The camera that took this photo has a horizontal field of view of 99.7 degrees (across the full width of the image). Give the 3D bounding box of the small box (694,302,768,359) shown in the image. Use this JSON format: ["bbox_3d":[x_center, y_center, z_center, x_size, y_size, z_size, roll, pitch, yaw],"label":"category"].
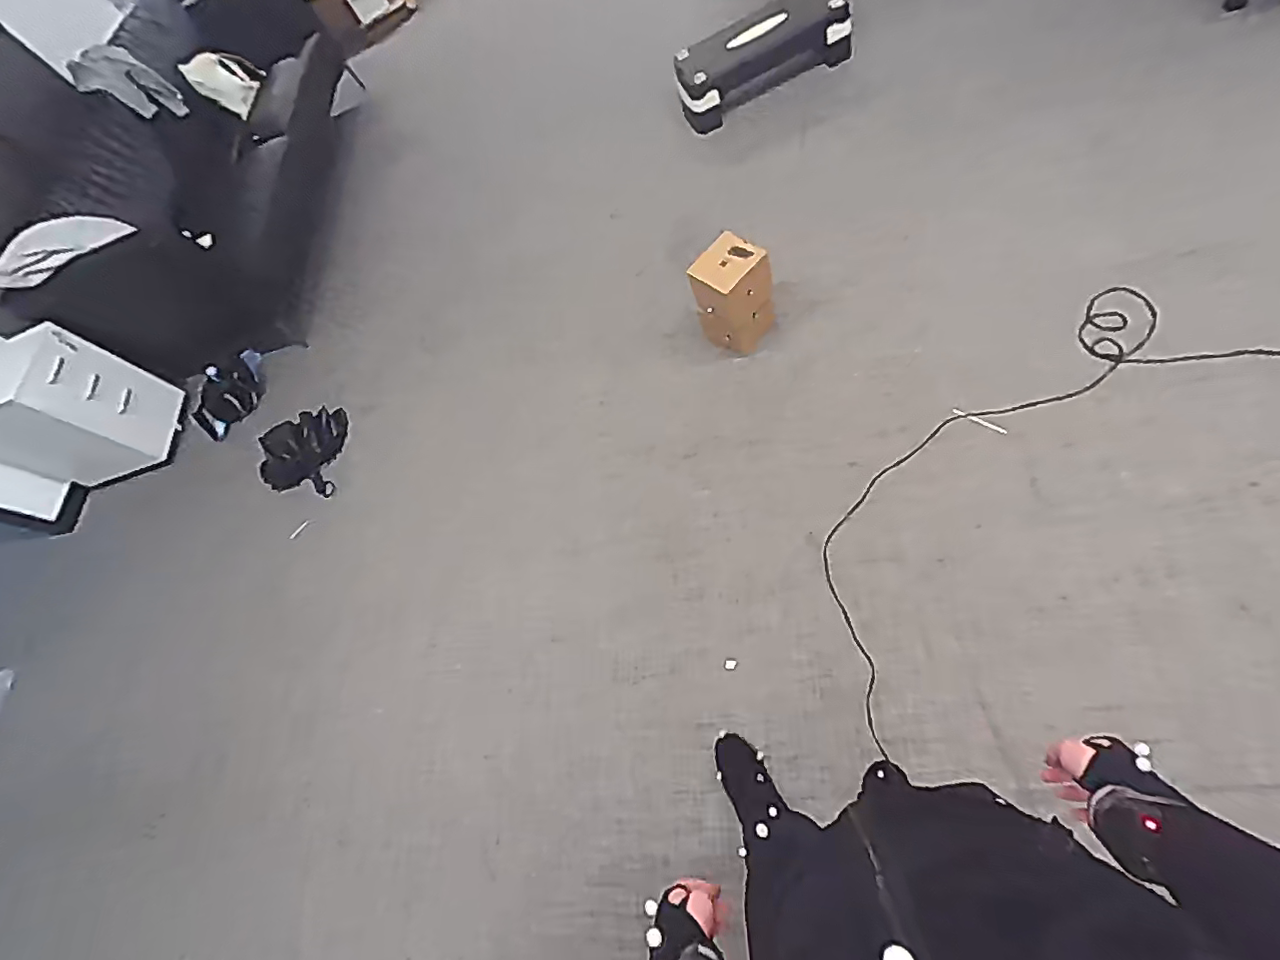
[{"bbox_3d":[0.307,-0.532,1.783,0.168,0.176,0.179,33,80,28],"label":"small box"}]

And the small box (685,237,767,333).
[{"bbox_3d":[0.267,-0.585,1.632,0.179,0.176,0.168,-47,60,-3],"label":"small box"}]
